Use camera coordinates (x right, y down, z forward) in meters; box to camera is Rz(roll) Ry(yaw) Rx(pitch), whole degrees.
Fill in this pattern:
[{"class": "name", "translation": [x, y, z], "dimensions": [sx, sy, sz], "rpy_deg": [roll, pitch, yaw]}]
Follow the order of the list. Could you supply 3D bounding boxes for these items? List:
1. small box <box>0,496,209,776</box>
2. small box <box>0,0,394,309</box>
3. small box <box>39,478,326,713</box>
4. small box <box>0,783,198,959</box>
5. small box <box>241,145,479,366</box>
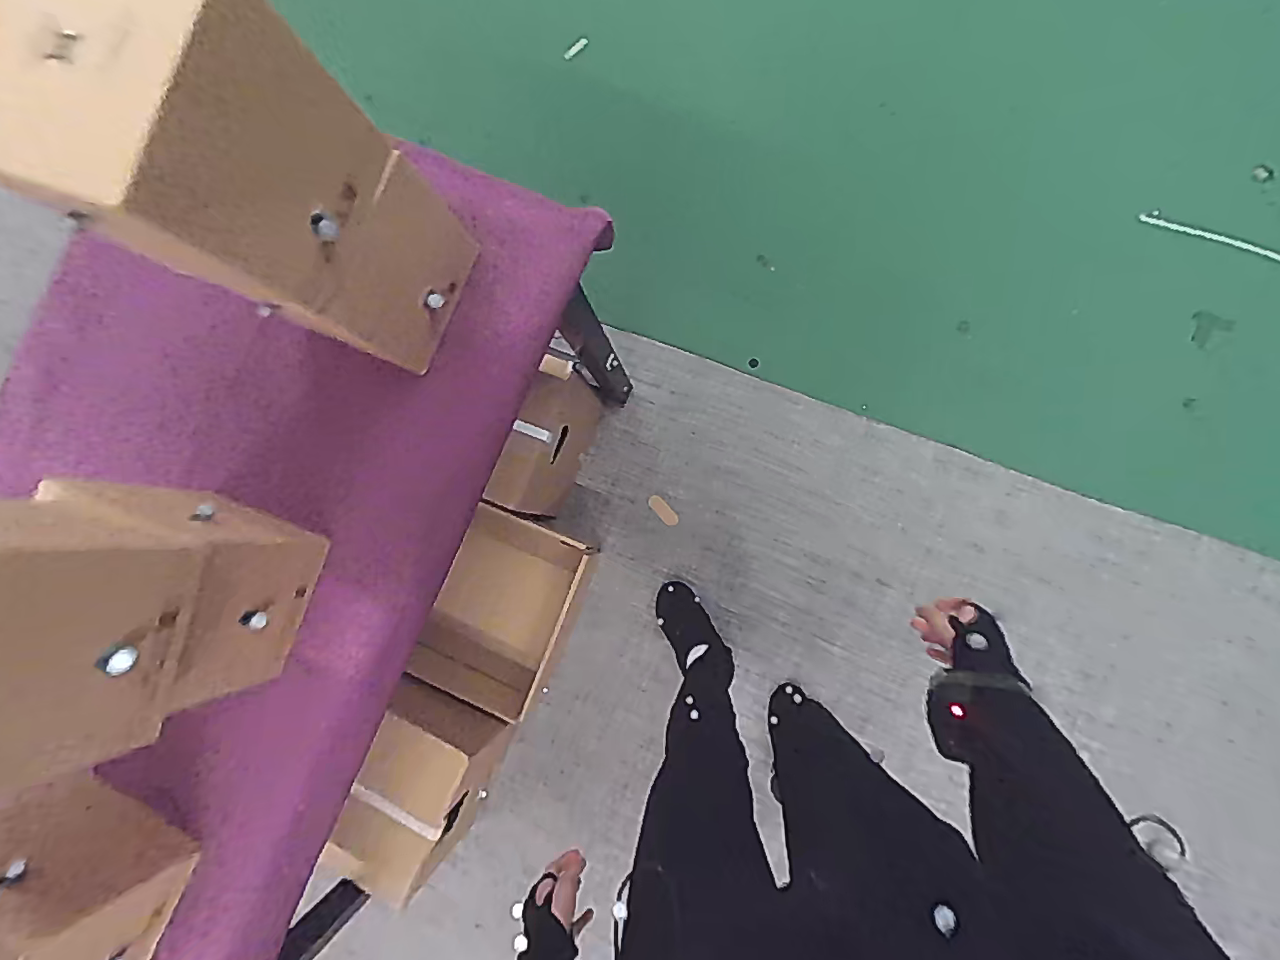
[{"class": "small box", "translation": [-0.469, 0.103, 0.380], "dimensions": [0.179, 0.176, 0.168], "rpy_deg": [12, 86, 9]}, {"class": "small box", "translation": [-0.329, -0.251, 0.404], "dimensions": [0.179, 0.176, 0.168], "rpy_deg": [20, 88, 10]}, {"class": "small box", "translation": [-0.467, 0.107, 0.548], "dimensions": [0.179, 0.176, 0.168], "rpy_deg": [19, 86, 9]}, {"class": "small box", "translation": [-0.606, 0.434, 0.530], "dimensions": [0.179, 0.176, 0.168], "rpy_deg": [24, 87, 8]}, {"class": "small box", "translation": [-0.303, -0.238, 0.564], "dimensions": [0.179, 0.176, 0.168], "rpy_deg": [22, 88, 10]}]
